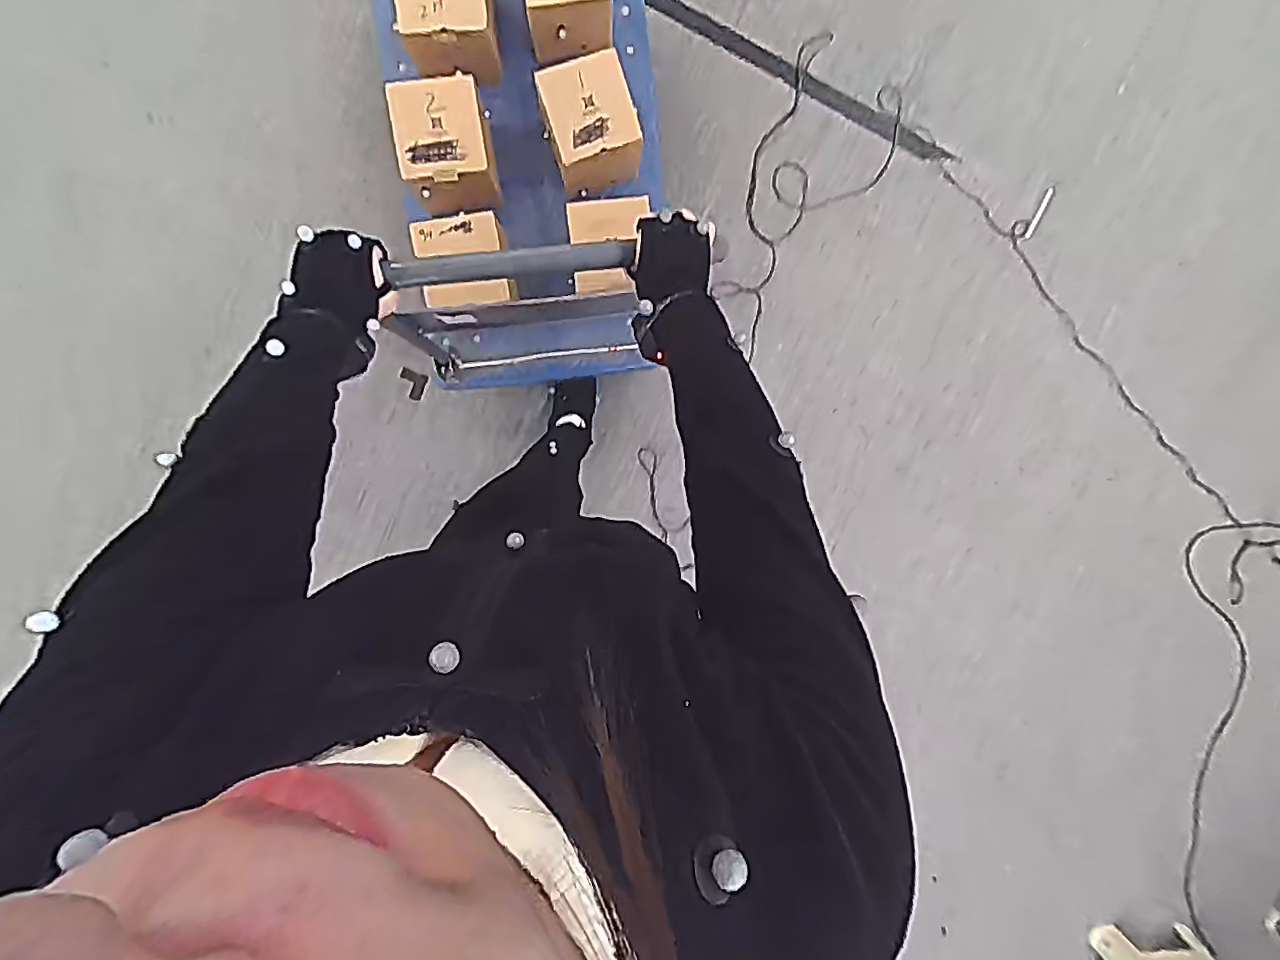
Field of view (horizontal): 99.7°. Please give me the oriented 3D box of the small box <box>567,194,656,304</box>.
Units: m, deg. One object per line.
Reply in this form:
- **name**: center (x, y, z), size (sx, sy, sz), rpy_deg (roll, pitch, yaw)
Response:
- **small box**: center (-0.061, -0.481, 1.153), size (0.168, 0.176, 0.179), rpy_deg (-7, 96, -4)

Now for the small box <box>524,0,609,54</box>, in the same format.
- **small box**: center (-0.155, -0.999, 1.086), size (0.168, 0.176, 0.179), rpy_deg (-10, 97, -3)

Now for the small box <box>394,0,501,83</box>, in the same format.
- **small box**: center (-0.380, -0.932, 1.073), size (0.168, 0.176, 0.179), rpy_deg (-6, 98, -4)

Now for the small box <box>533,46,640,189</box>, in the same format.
- **small box**: center (-0.106, -0.733, 1.120), size (0.168, 0.176, 0.179), rpy_deg (-19, 97, -2)

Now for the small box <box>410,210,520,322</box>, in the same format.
- **small box**: center (-0.355, -0.437, 1.133), size (0.168, 0.176, 0.179), rpy_deg (-11, 98, -4)
